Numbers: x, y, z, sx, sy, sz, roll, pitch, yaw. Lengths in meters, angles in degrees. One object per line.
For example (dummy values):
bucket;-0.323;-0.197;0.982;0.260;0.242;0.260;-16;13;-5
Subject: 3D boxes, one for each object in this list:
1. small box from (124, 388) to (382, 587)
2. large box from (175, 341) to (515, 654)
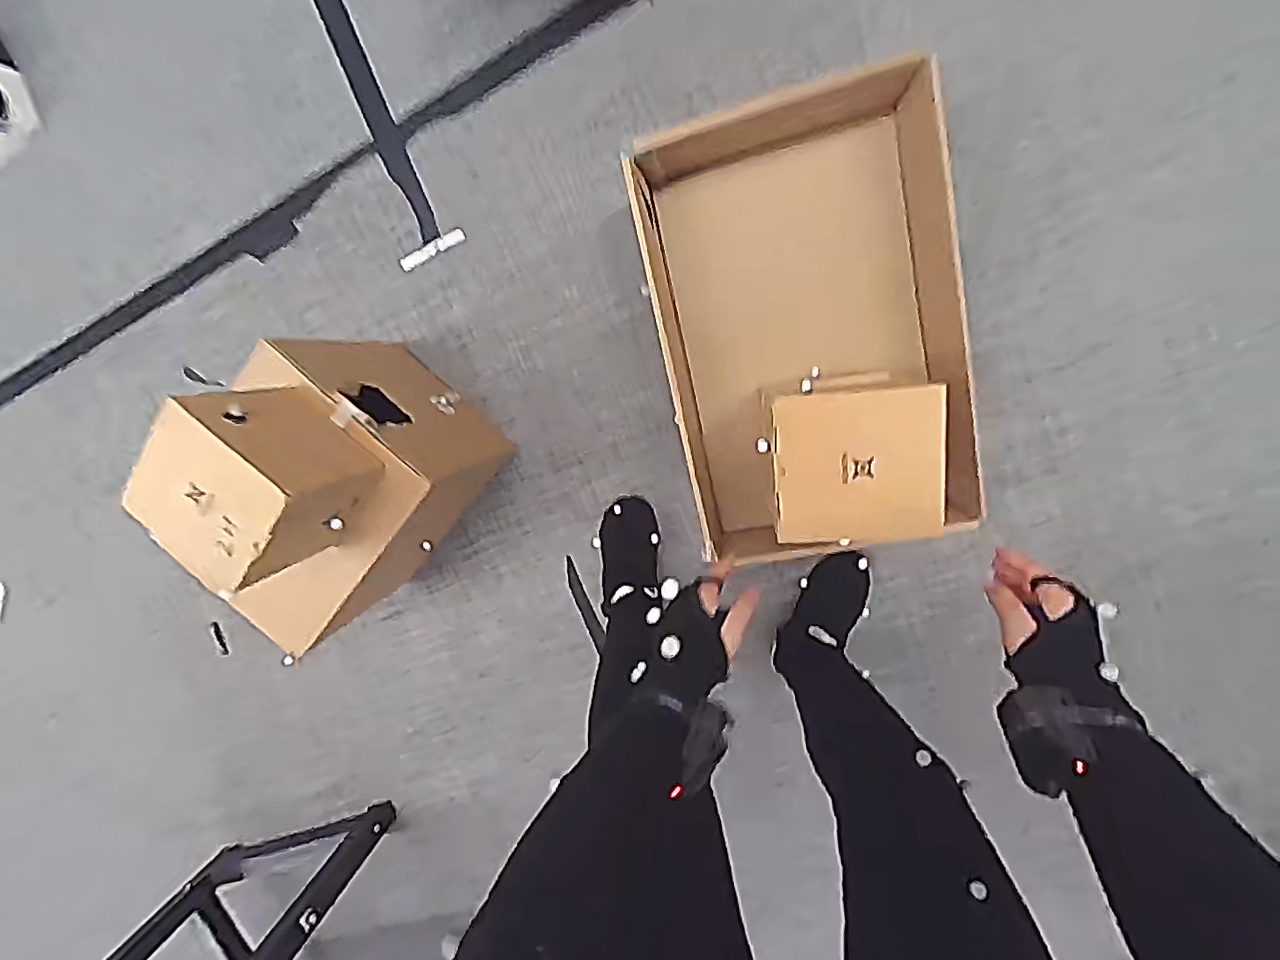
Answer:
small box;-0.480;-0.002;0.693;0.179;0.176;0.168;40;107;-1
large box;-0.496;0.007;0.955;0.320;0.320;0.408;41;107;0
